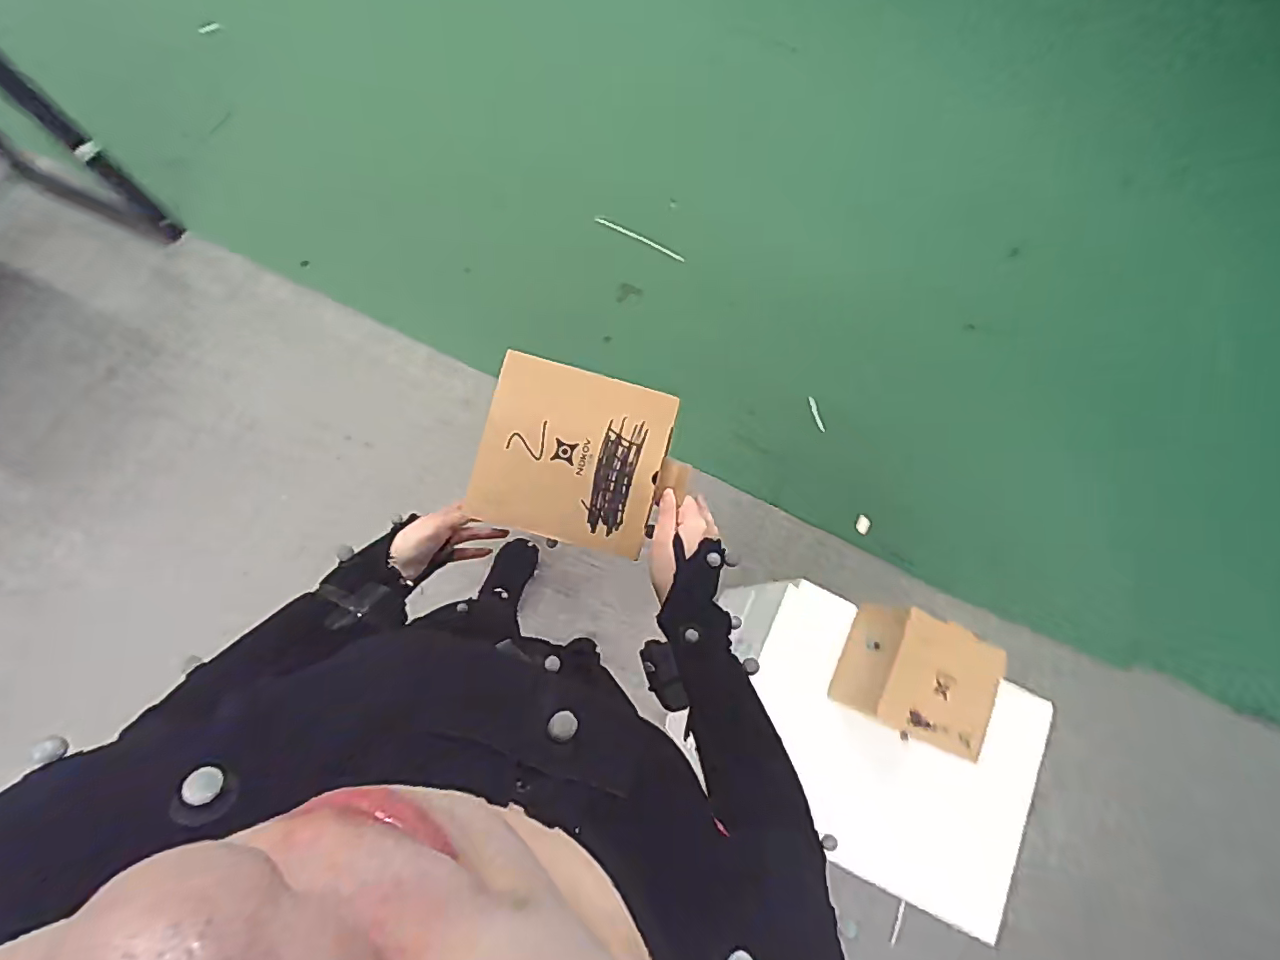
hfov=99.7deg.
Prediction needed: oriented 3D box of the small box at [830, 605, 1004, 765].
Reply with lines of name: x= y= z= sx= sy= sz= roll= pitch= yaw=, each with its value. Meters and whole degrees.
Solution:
small box: x=0.435 y=0.318 z=0.874 sx=0.168 sy=0.176 sz=0.179 roll=27 pitch=75 yaw=1
